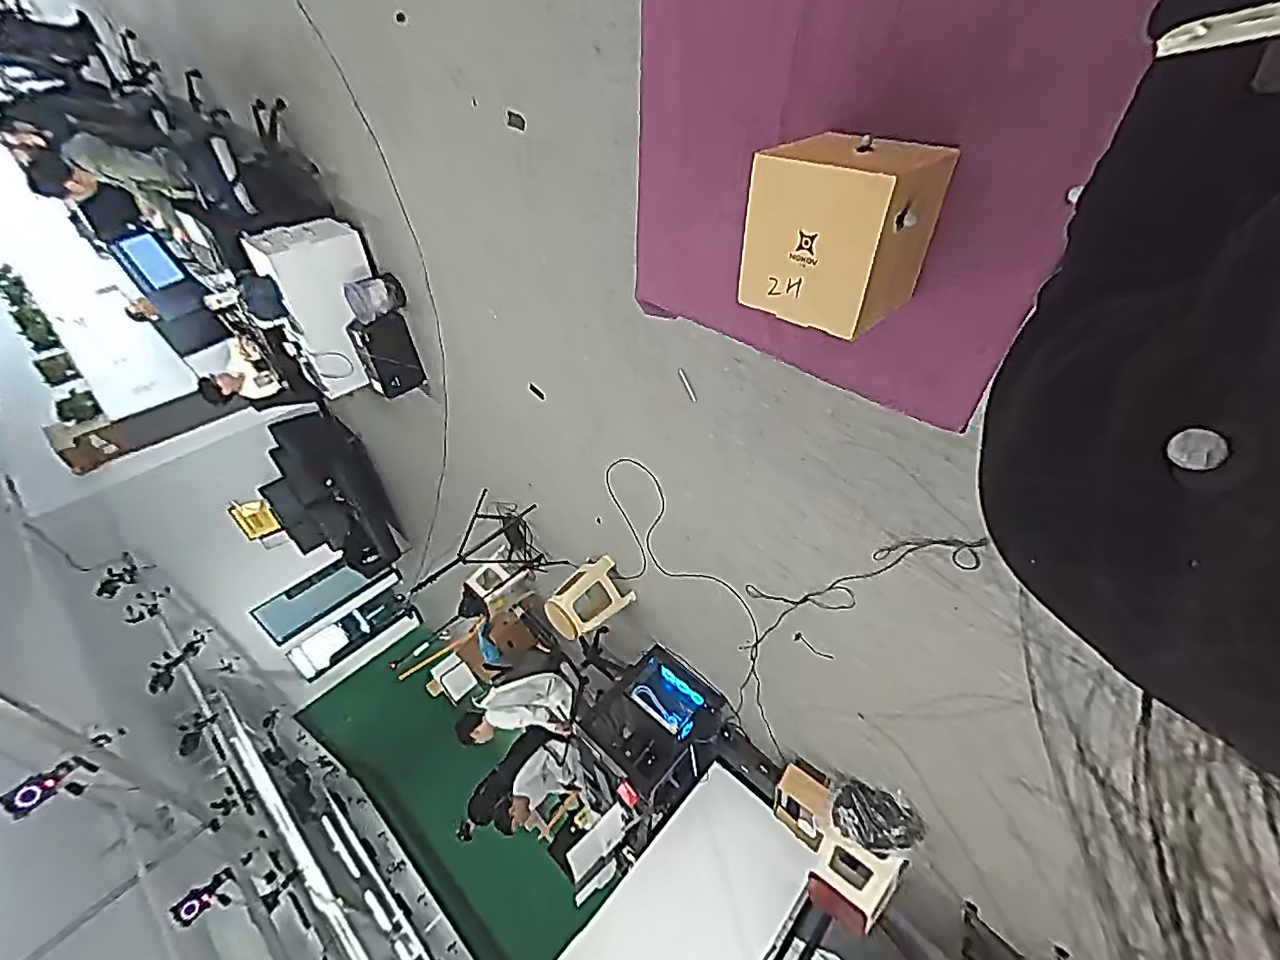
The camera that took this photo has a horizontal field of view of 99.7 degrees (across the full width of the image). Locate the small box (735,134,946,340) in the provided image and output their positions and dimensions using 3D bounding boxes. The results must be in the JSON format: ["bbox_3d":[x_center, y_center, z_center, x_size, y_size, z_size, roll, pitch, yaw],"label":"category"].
[{"bbox_3d":[0.239,-0.302,0.654,0.168,0.176,0.179,33,142,32],"label":"small box"}]
